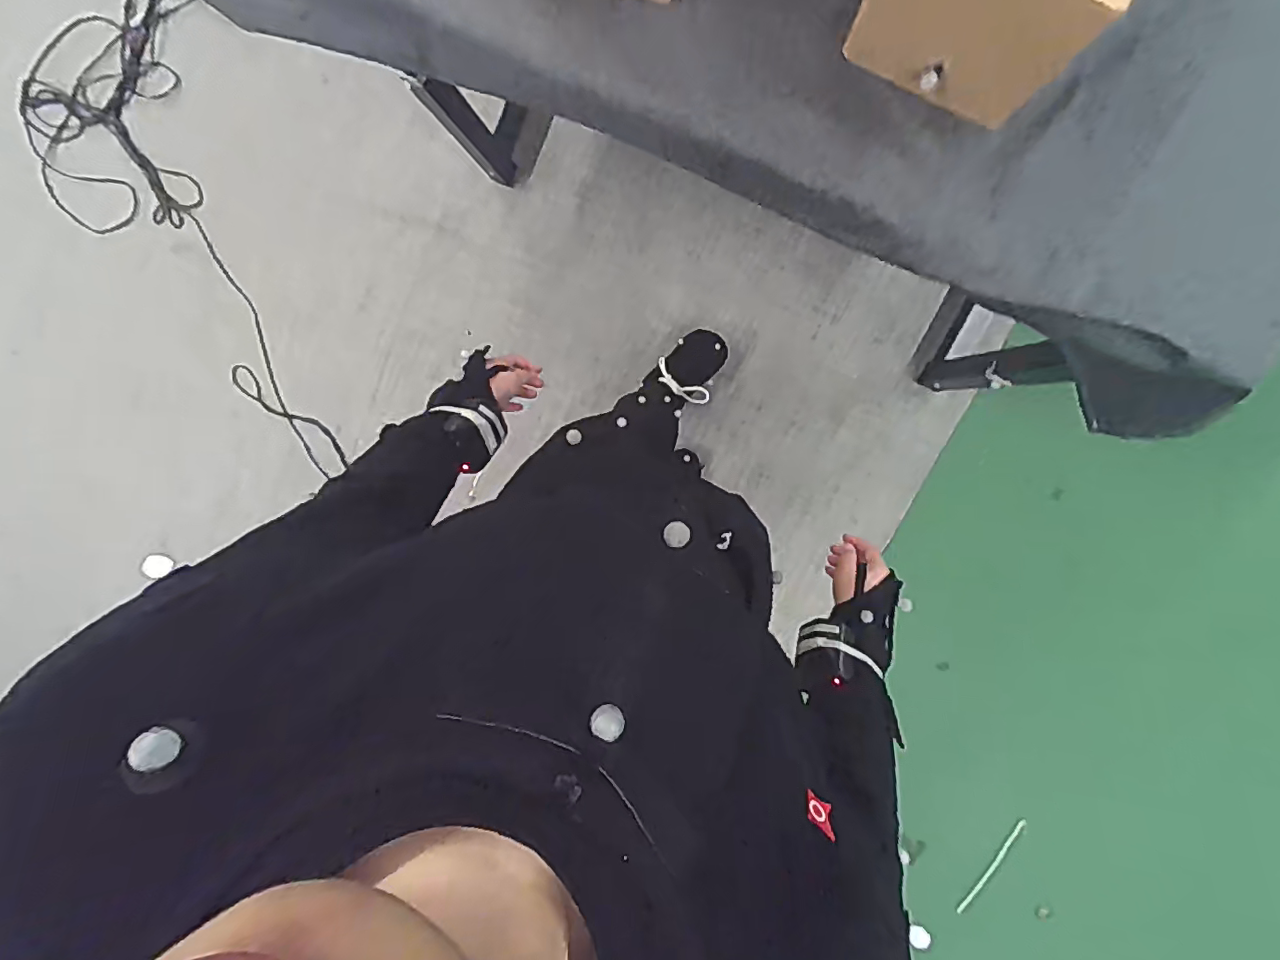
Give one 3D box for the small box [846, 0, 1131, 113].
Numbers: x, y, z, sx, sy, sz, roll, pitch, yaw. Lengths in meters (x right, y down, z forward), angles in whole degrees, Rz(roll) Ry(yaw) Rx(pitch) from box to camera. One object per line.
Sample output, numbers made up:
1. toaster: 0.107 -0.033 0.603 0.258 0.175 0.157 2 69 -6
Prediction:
1. small box: 0.306 -0.449 0.447 0.179 0.176 0.168 27 100 1
